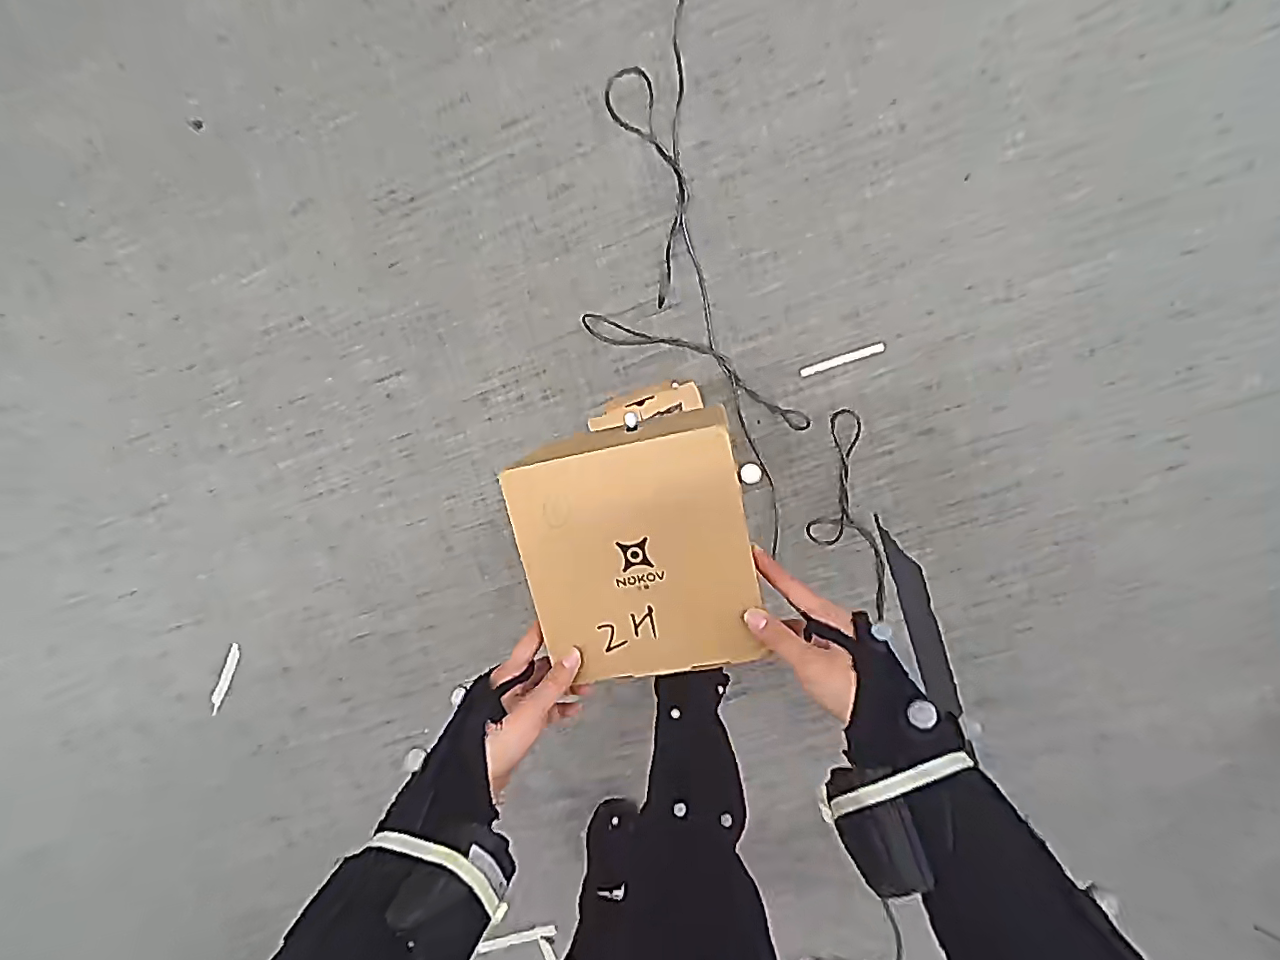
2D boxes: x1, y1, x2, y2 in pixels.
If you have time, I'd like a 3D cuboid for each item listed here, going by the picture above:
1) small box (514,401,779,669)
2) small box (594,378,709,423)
[{"bbox_3d":[0.014,0.032,0.466,0.168,0.176,0.179,-11,101,10],"label":"small box"},{"bbox_3d":[0.042,-0.046,0.848,0.168,0.176,0.179,-19,96,8],"label":"small box"}]
